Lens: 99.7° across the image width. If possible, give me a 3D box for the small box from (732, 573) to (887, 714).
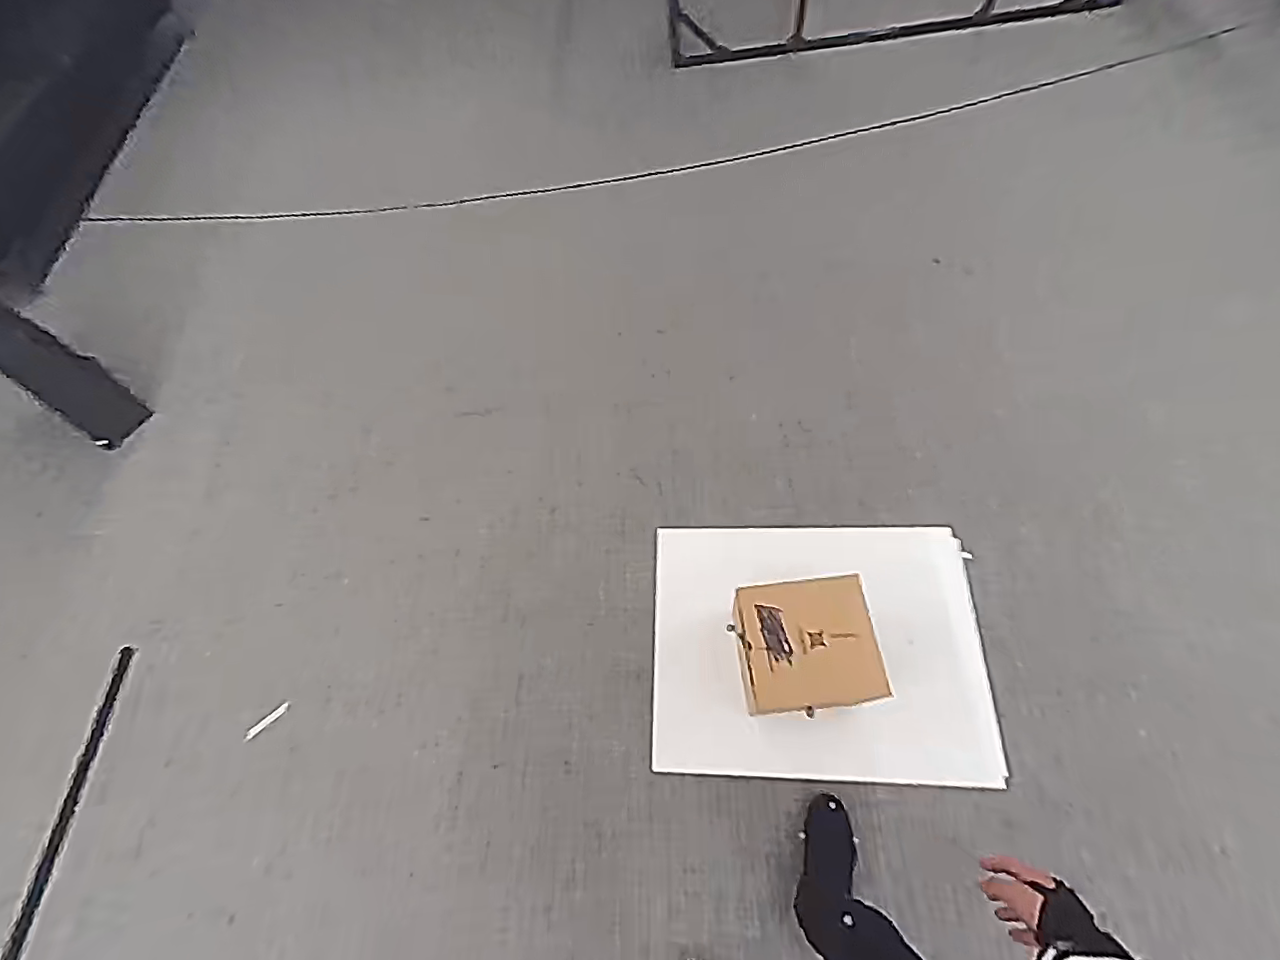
[{"bbox_3d":[0.234,0.249,0.804,0.179,0.176,0.168,-7,64,3],"label":"small box"}]
